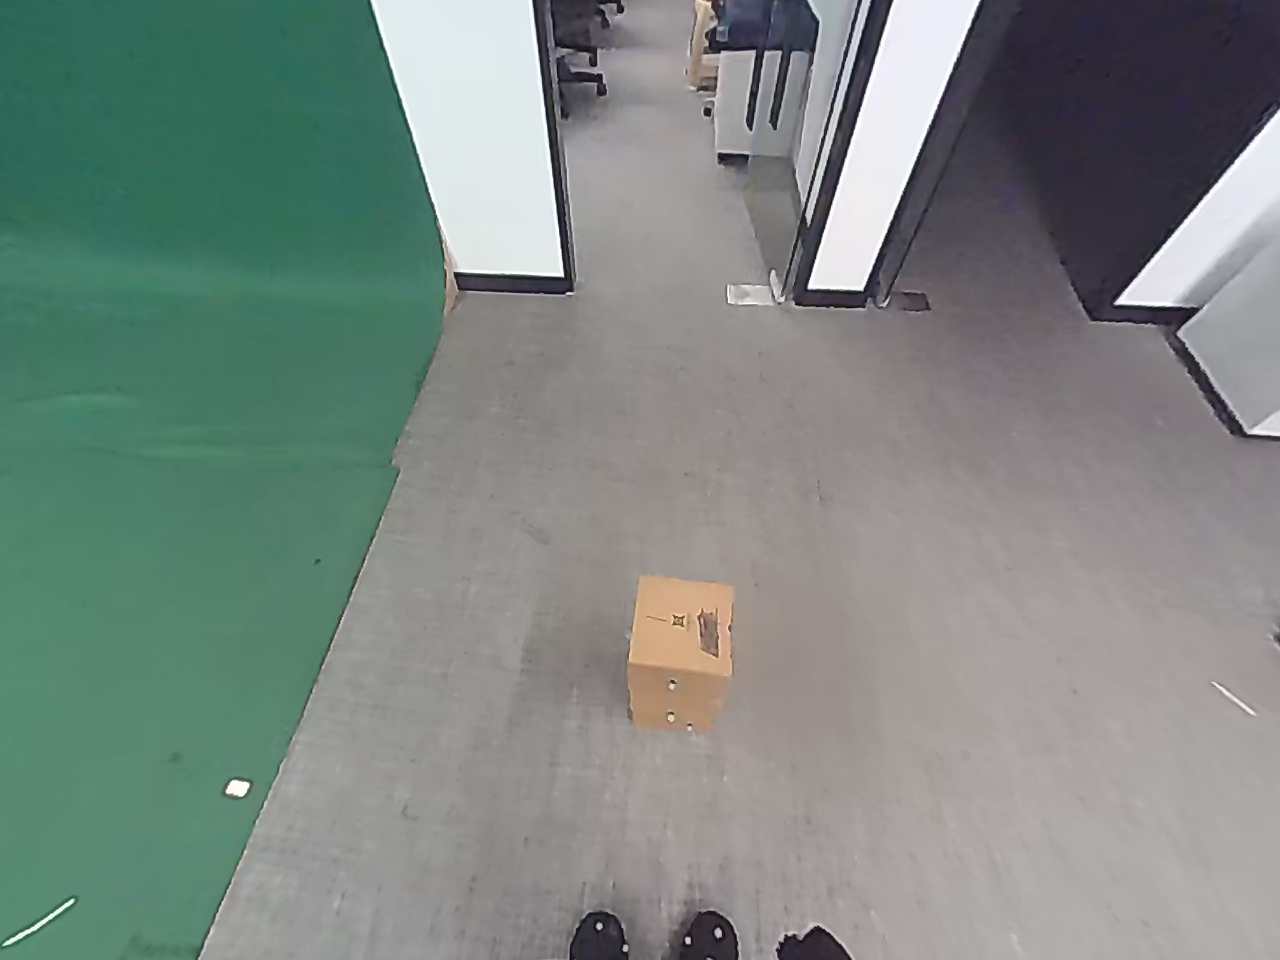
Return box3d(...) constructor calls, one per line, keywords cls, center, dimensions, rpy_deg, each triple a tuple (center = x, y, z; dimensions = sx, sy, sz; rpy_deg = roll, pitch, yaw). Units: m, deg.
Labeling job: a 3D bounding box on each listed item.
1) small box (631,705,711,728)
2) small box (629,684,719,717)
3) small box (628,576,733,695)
box3d(cls="small box", center=(0.075, 0.484, 1.288), dimensions=(0.179, 0.176, 0.168), rpy_deg=(4, 54, 4))
box3d(cls="small box", center=(0.075, 0.394, 1.150), dimensions=(0.179, 0.176, 0.168), rpy_deg=(8, 55, 5))
box3d(cls="small box", center=(0.073, 0.298, 1.017), dimensions=(0.179, 0.176, 0.168), rpy_deg=(5, 55, 1))
